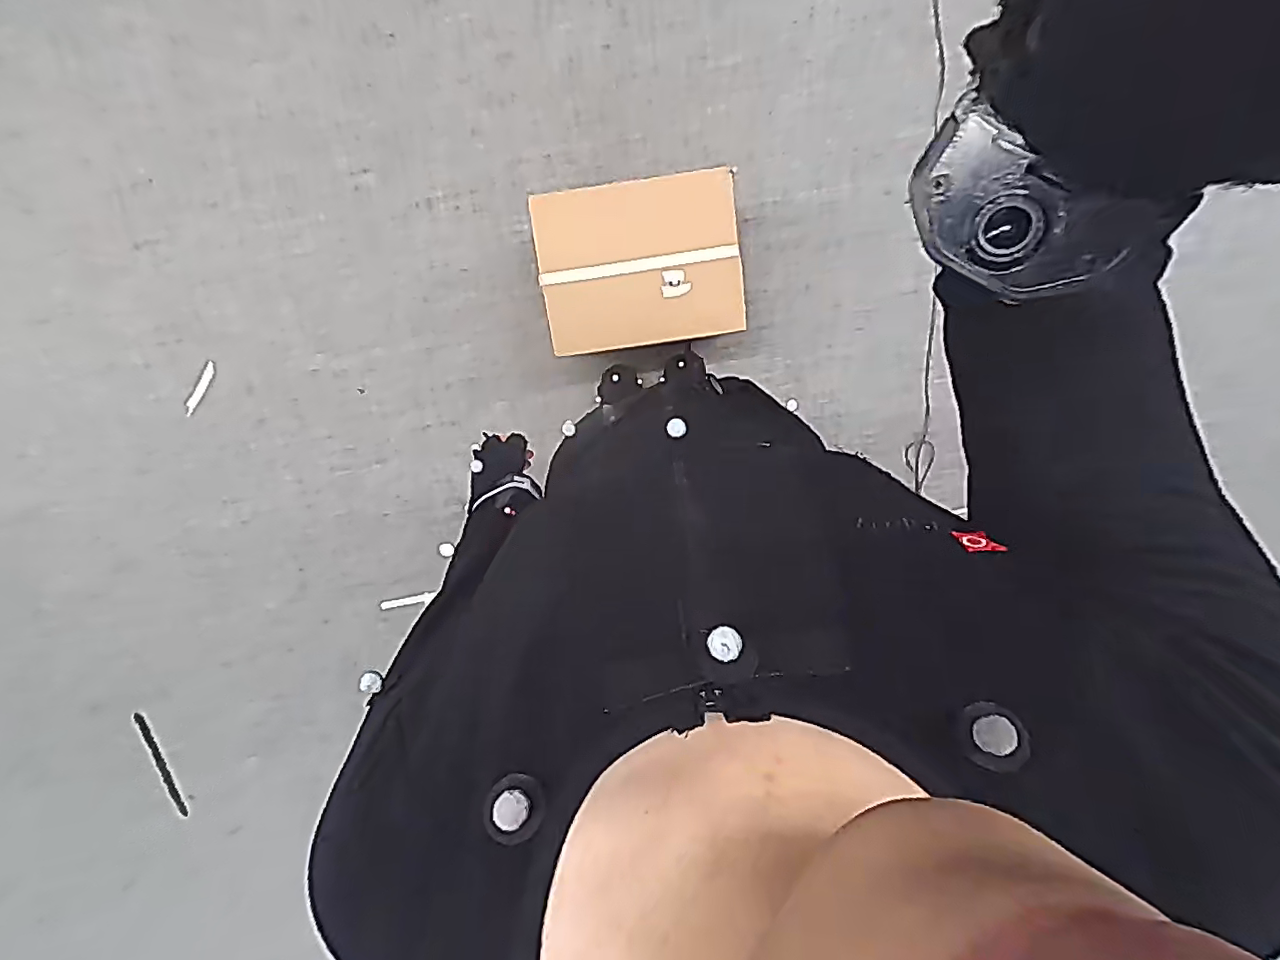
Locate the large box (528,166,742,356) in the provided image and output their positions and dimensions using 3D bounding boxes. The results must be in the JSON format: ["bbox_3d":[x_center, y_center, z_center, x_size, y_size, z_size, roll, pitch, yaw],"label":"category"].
[{"bbox_3d":[-0.008,-0.473,1.243,0.408,0.320,0.320,-8,104,1],"label":"large box"}]
